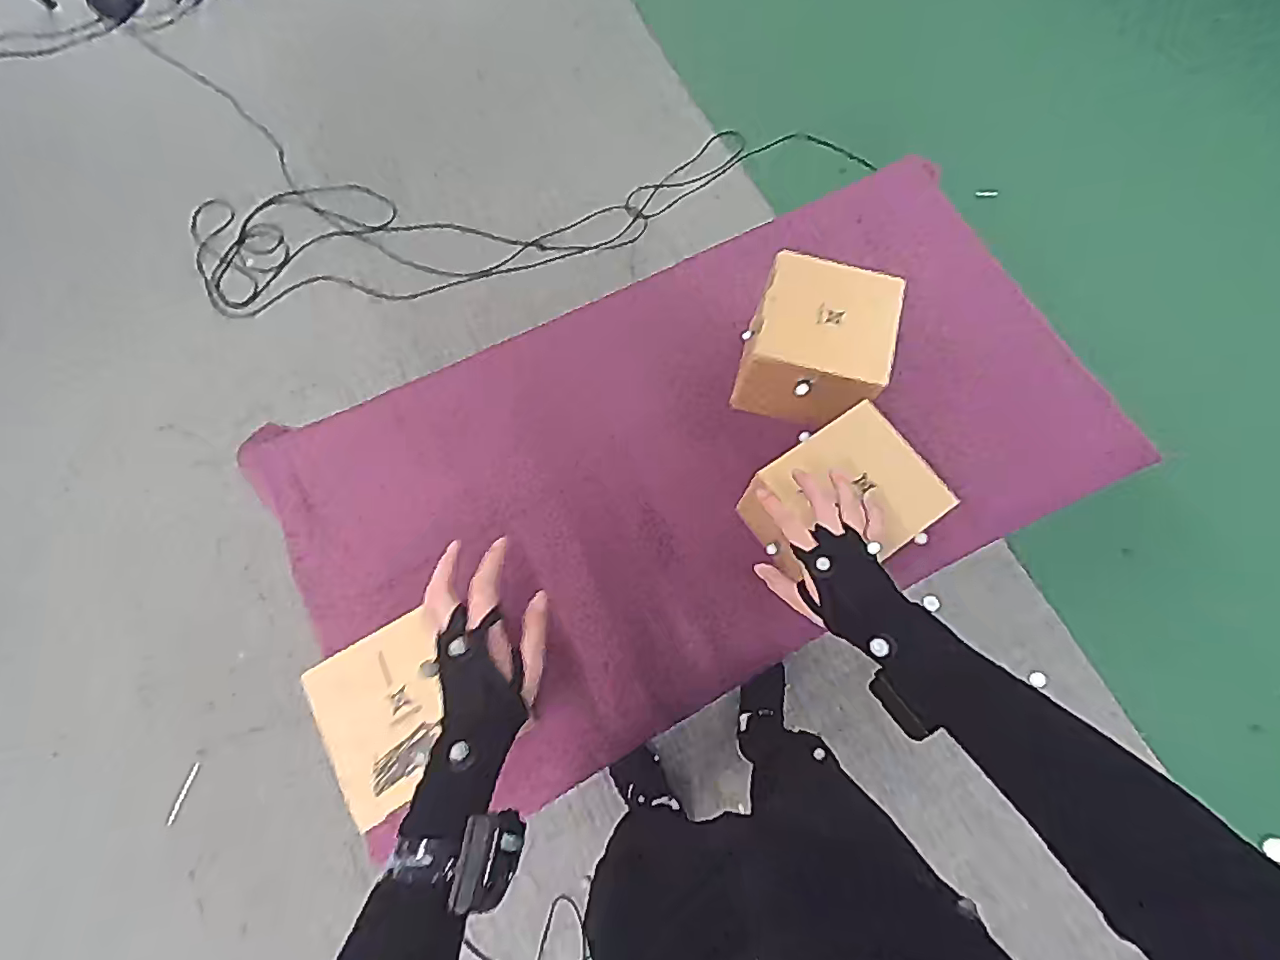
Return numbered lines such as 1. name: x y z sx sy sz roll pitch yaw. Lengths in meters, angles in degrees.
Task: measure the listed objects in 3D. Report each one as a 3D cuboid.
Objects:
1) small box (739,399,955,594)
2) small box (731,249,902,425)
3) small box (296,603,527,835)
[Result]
1. small box: 0.252 0.031 0.708 0.179 0.176 0.168 -33 75 -9
2. small box: 0.243 -0.193 0.776 0.179 0.176 0.168 14 75 5
3. small box: -0.254 0.266 0.642 0.168 0.176 0.179 -30 74 -8
